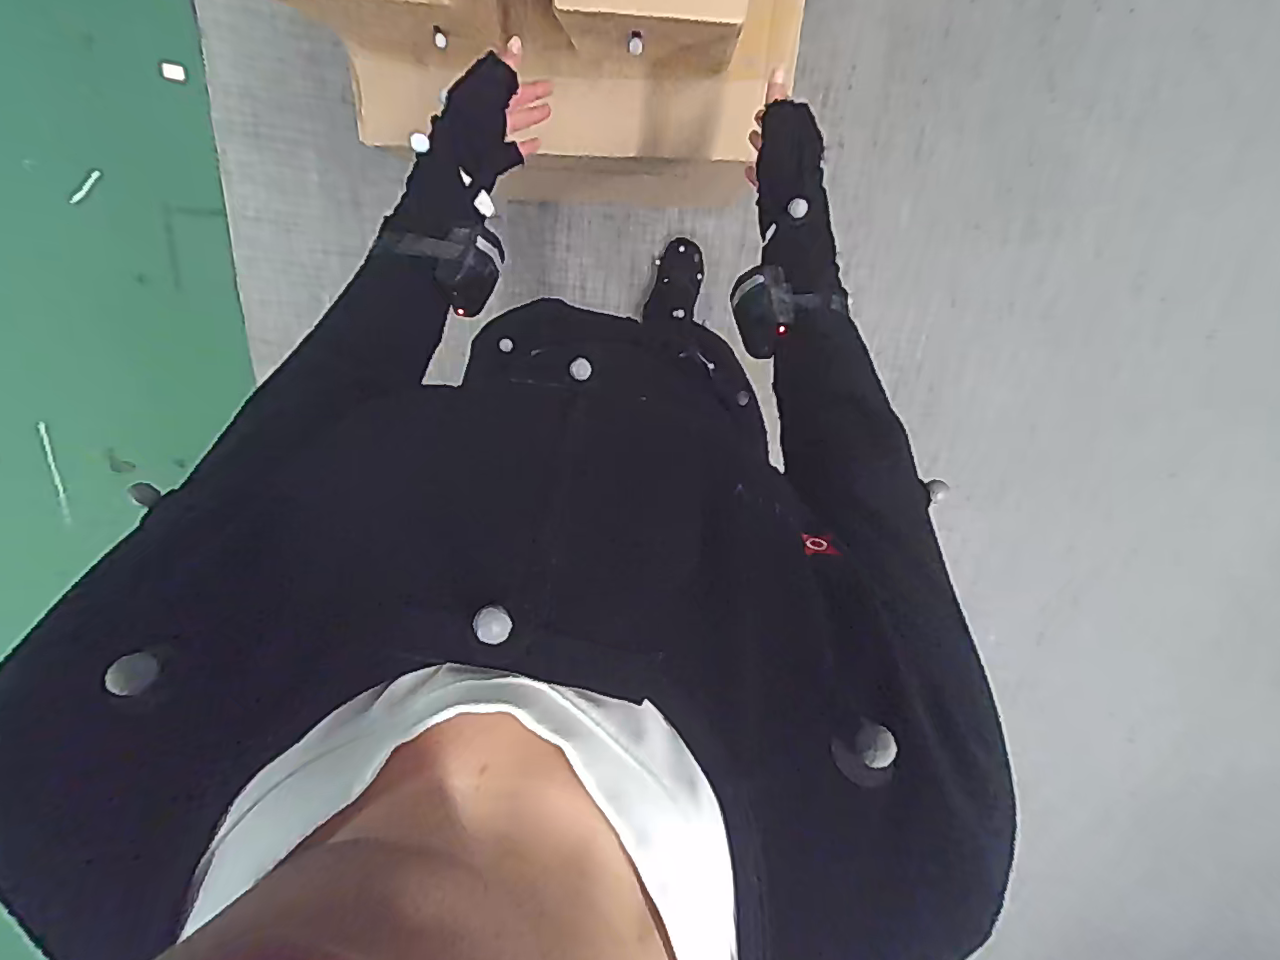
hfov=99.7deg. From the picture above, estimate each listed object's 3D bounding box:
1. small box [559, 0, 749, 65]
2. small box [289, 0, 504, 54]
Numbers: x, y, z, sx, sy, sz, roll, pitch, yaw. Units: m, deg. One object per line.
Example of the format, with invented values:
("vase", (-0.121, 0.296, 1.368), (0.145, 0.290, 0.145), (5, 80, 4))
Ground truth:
("small box", (0.023, -0.526, 0.522), (0.179, 0.176, 0.168), (6, 116, 1))
("small box", (-0.239, -0.546, 0.531), (0.179, 0.176, 0.168), (4, 114, 3))
